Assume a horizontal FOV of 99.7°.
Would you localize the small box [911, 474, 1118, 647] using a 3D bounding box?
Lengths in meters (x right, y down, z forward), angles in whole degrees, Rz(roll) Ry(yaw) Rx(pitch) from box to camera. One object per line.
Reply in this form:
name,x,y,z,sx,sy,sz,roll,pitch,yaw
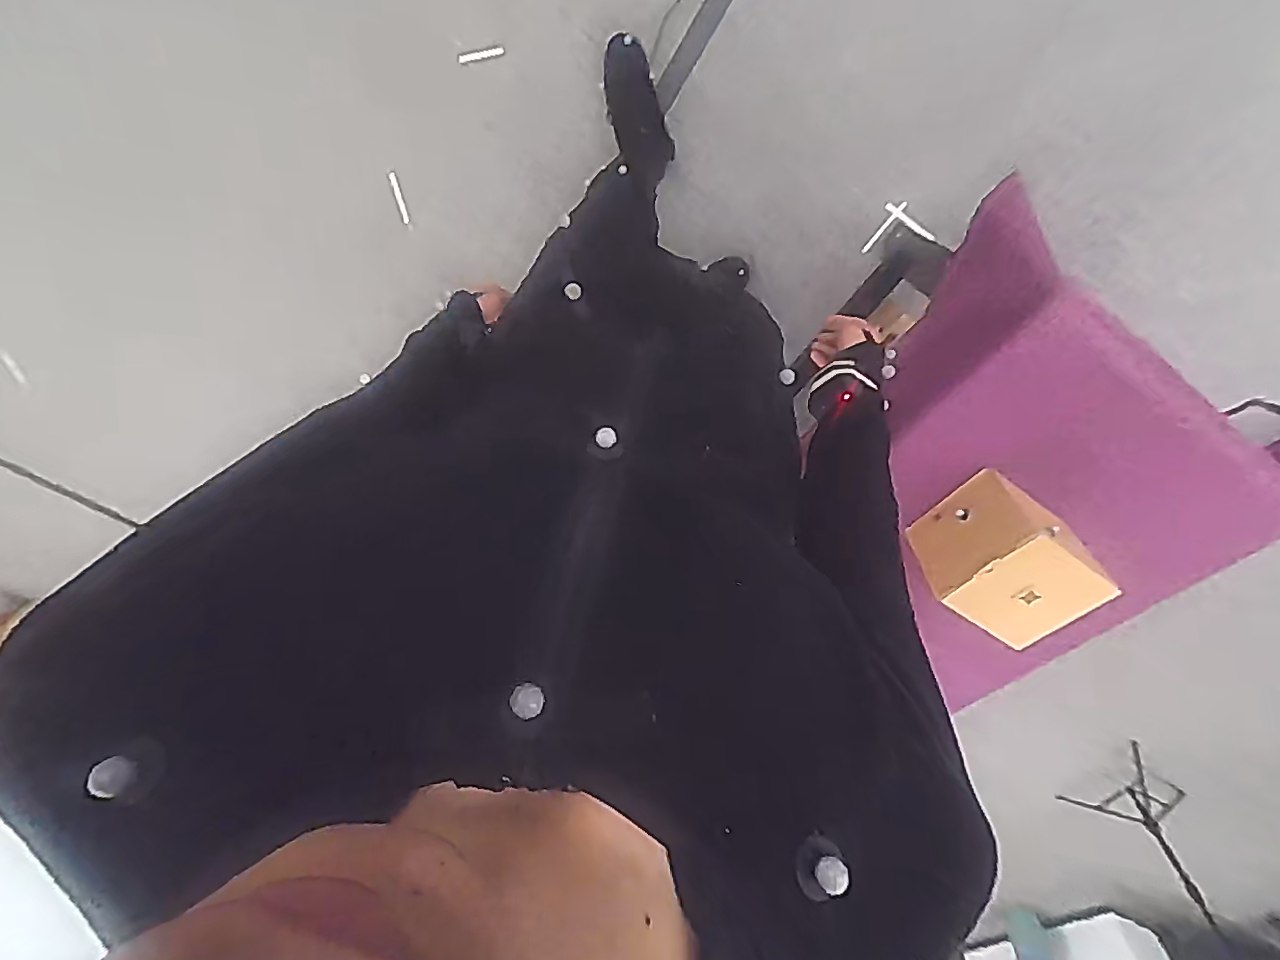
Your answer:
small box,0.568,0.120,0.845,0.179,0.176,0.168,31,122,-13
